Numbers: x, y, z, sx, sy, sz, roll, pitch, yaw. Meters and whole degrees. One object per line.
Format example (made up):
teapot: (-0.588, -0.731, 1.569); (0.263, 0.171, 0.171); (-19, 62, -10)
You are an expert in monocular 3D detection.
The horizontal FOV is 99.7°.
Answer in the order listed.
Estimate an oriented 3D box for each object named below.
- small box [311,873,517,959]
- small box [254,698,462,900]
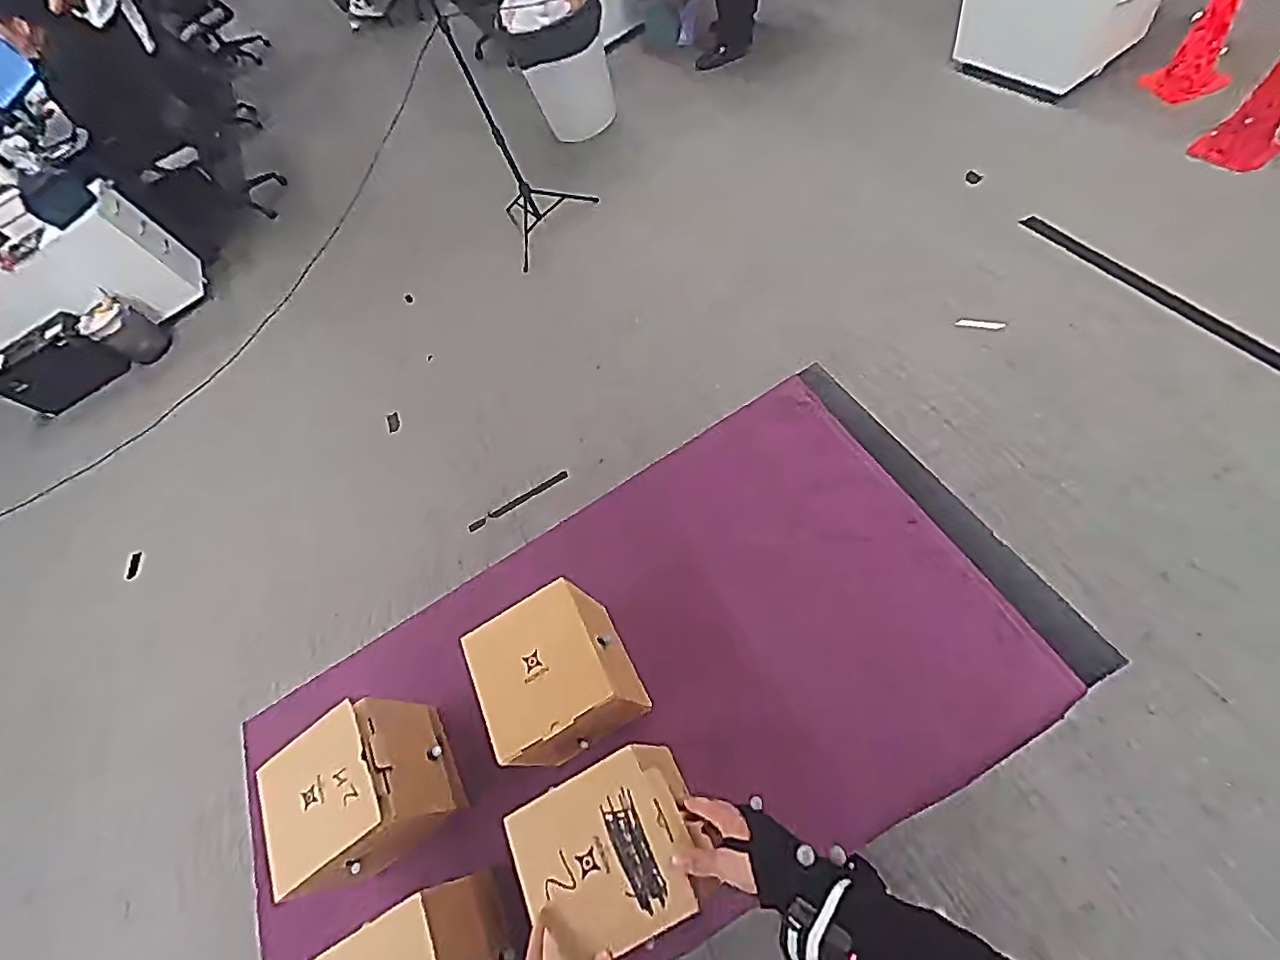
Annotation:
small box: (-0.261, 0.599, 0.628); (0.179, 0.176, 0.168); (-32, 59, -2)
small box: (-0.385, 0.433, 0.752); (0.179, 0.176, 0.168); (-34, 59, -3)
